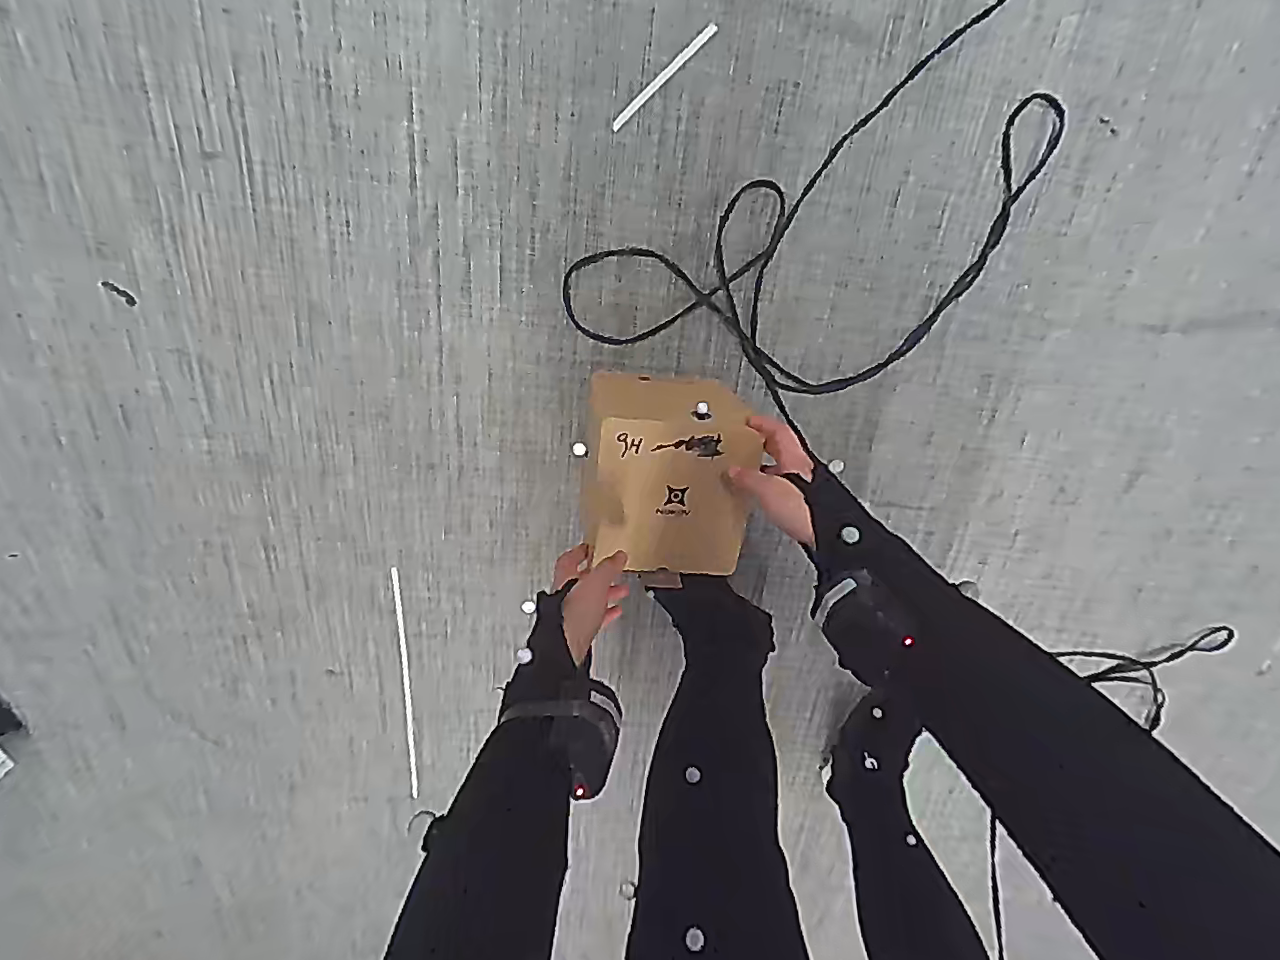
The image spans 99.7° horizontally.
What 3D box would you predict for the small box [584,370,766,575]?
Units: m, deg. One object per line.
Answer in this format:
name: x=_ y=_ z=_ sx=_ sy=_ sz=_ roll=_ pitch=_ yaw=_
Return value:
small box: x=0.024 y=-0.013 z=0.622 sx=0.168 sy=0.176 sz=0.179 roll=4 pitch=116 yaw=-10
